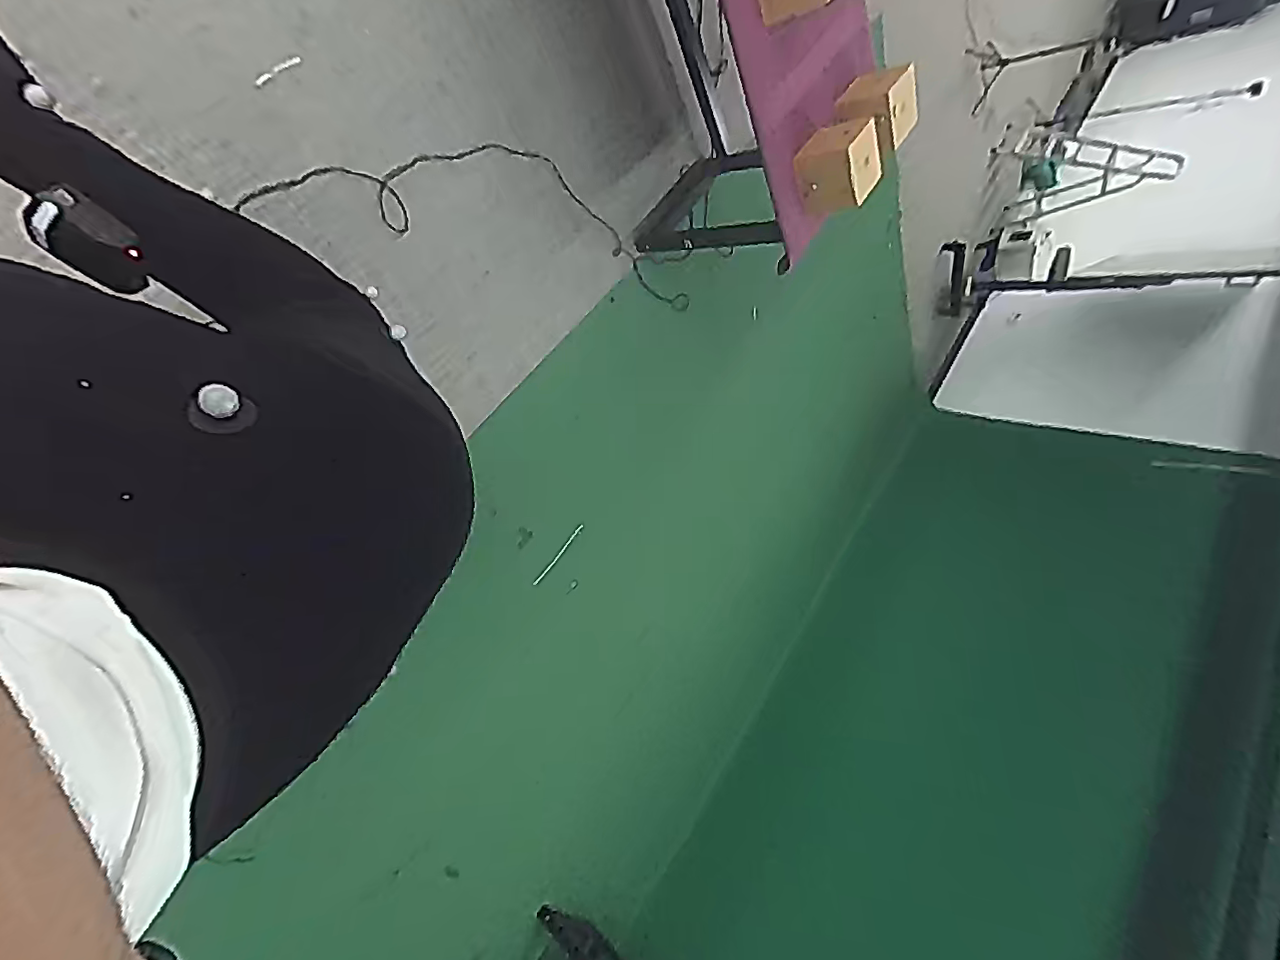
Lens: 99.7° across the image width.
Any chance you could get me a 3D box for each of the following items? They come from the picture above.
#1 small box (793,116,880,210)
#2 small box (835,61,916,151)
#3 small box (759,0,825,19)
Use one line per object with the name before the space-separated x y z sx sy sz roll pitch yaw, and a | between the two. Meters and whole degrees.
small box | 0.567 -0.907 1.557 0.179 0.176 0.168 -52 134 -21
small box | 0.716 -1.124 1.645 0.179 0.176 0.168 -54 135 -19
small box | 0.378 -1.219 1.249 0.179 0.176 0.168 -54 136 -19
